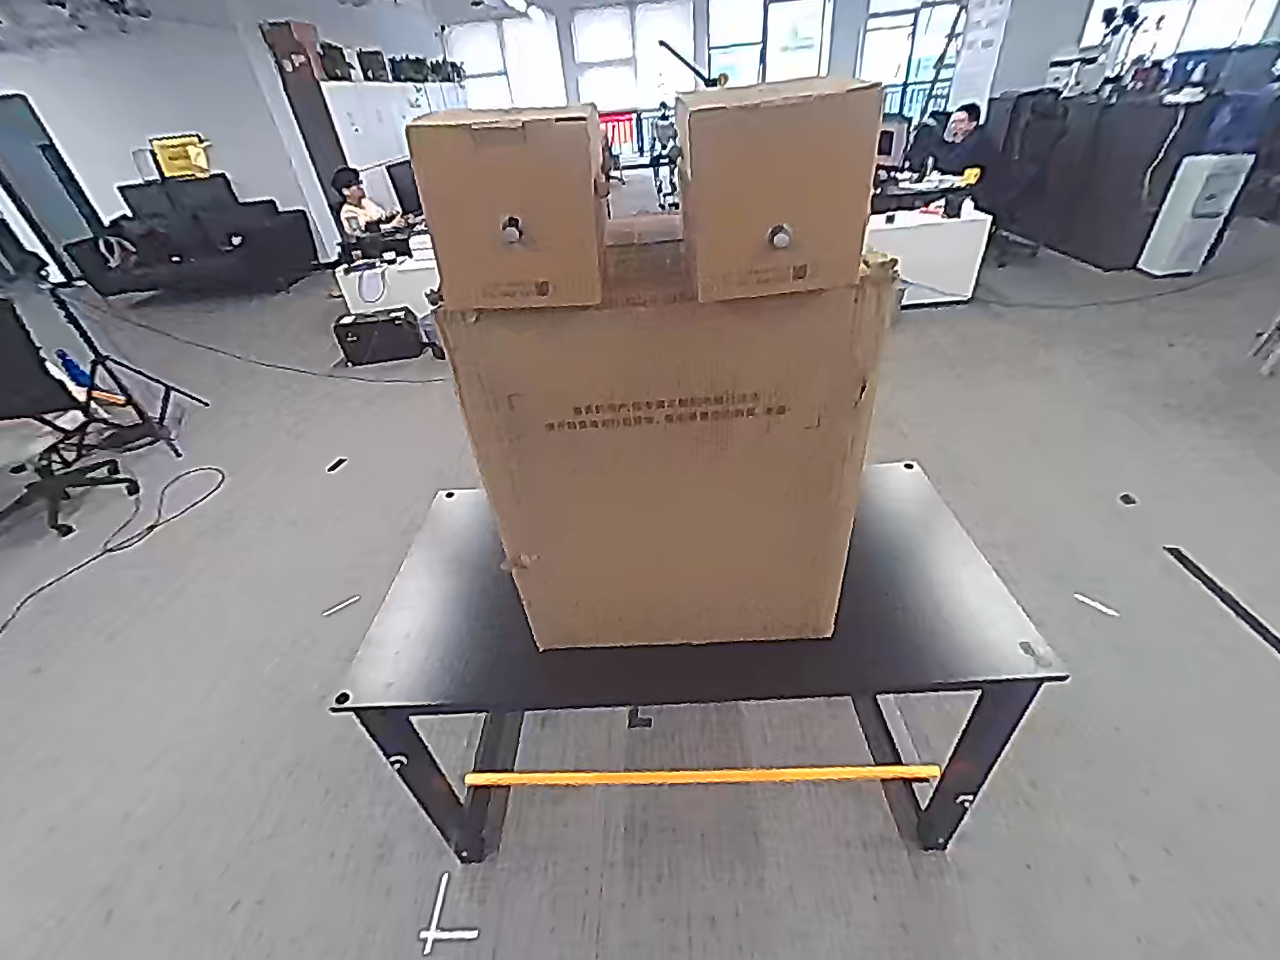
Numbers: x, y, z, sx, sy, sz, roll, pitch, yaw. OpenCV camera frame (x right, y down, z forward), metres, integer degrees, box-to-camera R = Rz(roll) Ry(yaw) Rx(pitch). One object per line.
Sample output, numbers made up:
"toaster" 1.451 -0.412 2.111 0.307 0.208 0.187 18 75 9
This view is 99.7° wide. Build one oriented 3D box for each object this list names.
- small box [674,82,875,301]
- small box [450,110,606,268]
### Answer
"small box" 0.125 -0.304 0.571 0.168 0.176 0.179 -6 38 4
"small box" -0.140 -0.403 0.749 0.168 0.176 0.179 -5 36 2
